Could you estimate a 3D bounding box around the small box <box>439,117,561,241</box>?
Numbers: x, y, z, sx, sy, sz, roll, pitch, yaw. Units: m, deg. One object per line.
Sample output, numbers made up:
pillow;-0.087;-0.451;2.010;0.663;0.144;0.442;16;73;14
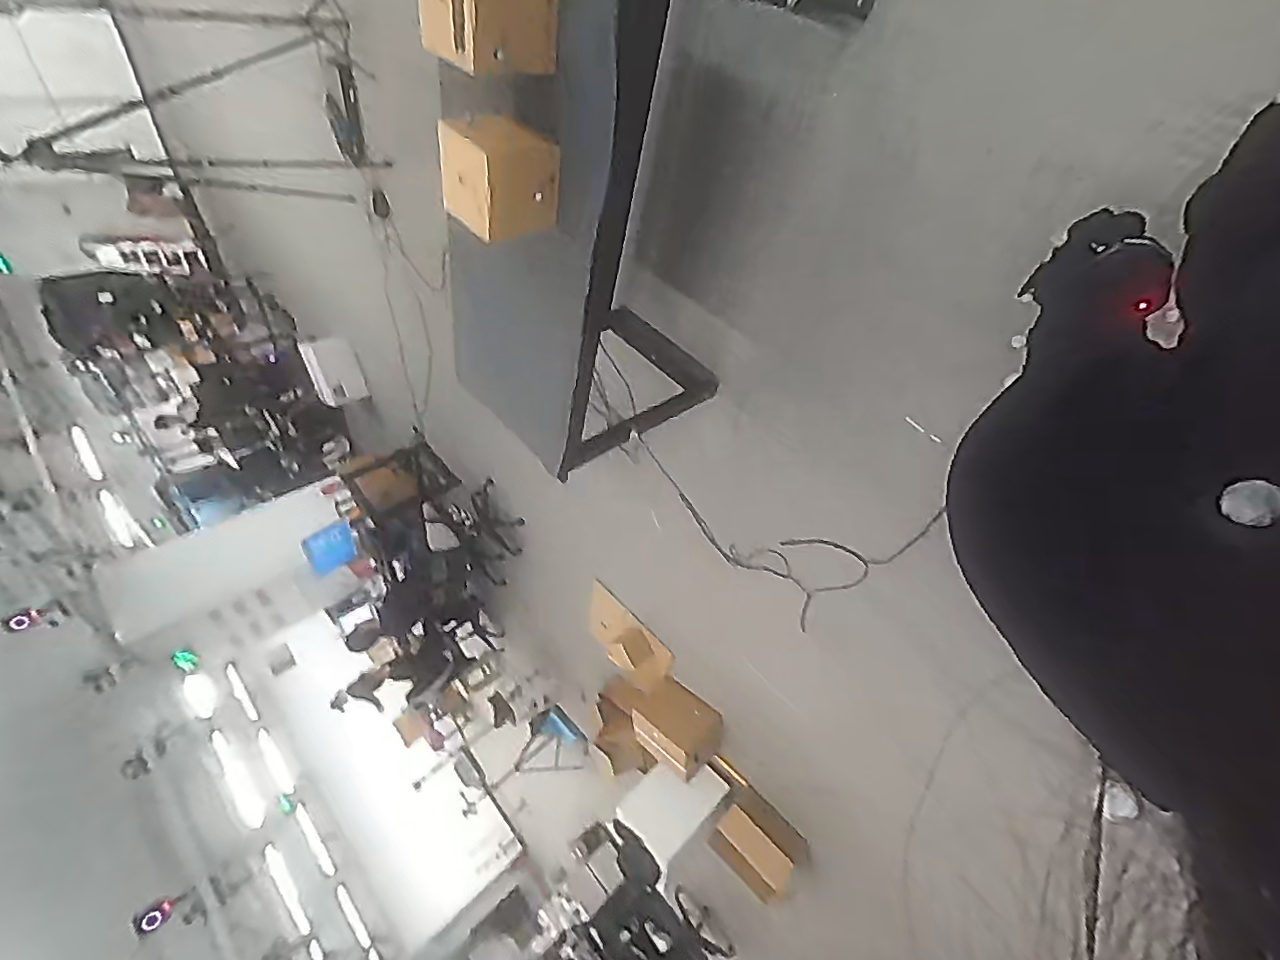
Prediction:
small box;-0.283;-0.612;1.094;0.179;0.176;0.168;43;142;23
